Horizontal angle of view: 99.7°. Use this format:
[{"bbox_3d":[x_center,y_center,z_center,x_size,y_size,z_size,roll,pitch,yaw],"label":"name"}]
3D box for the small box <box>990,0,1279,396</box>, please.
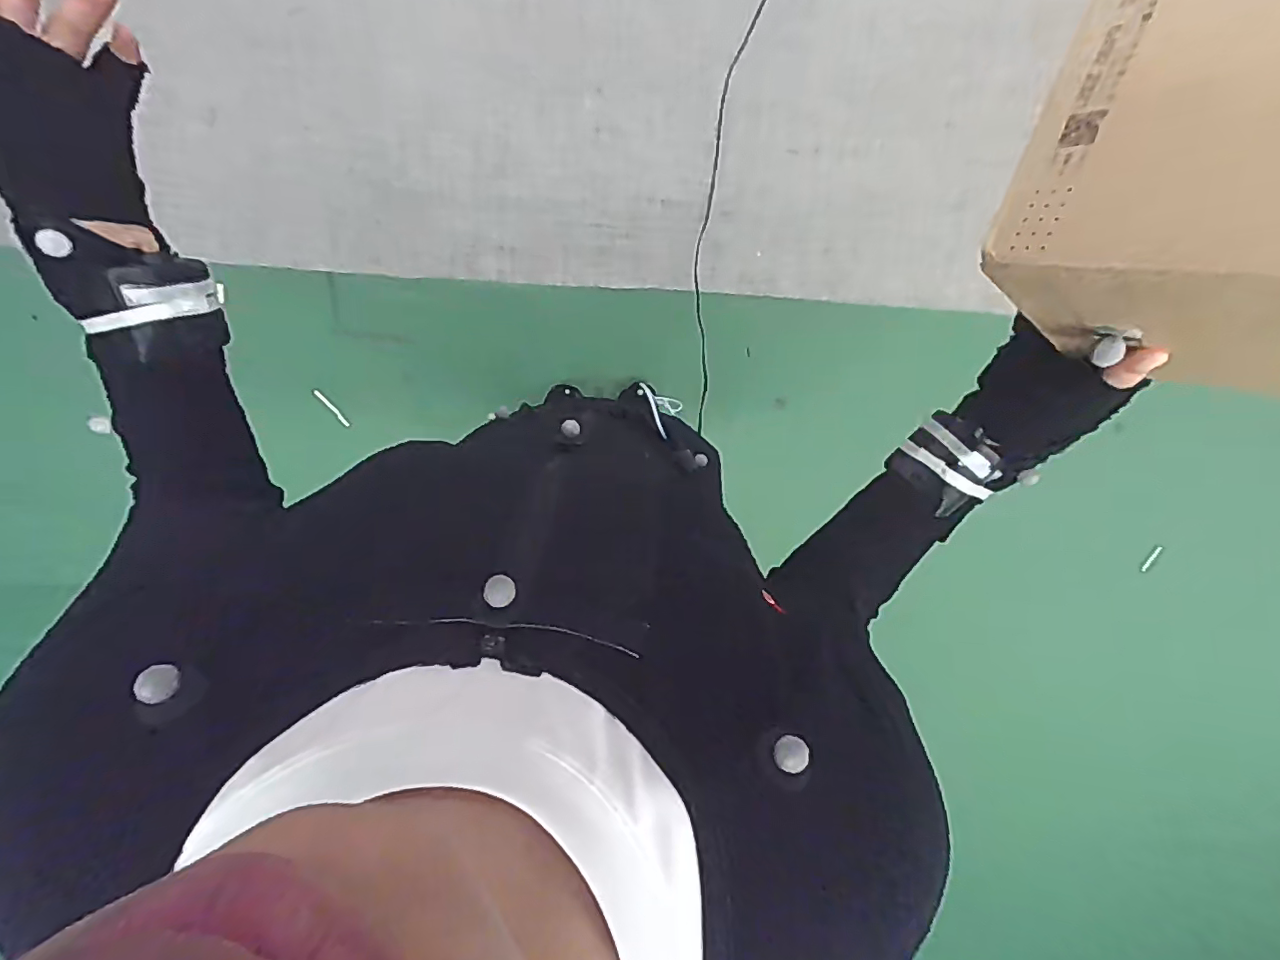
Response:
[{"bbox_3d":[0.300,-0.139,0.239,0.179,0.176,0.168,11,103,-39],"label":"small box"}]
